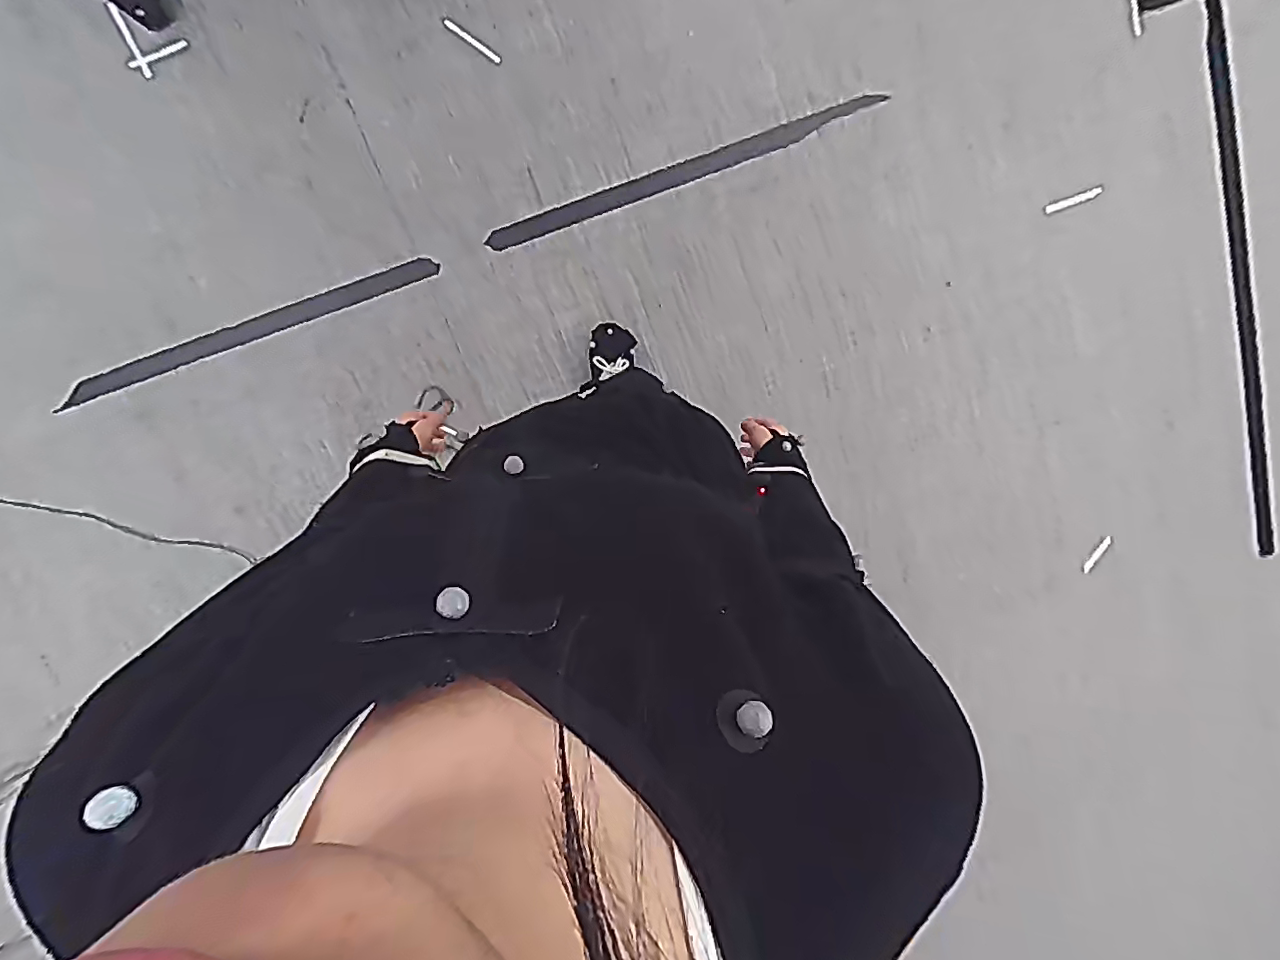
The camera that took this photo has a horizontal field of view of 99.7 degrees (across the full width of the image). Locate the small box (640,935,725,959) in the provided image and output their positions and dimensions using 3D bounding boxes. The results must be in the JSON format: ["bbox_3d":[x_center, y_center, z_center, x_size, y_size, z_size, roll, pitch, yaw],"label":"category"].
[{"bbox_3d":[0.102,1.036,1.051,0.168,0.176,0.179,-18,103,0],"label":"small box"}]
